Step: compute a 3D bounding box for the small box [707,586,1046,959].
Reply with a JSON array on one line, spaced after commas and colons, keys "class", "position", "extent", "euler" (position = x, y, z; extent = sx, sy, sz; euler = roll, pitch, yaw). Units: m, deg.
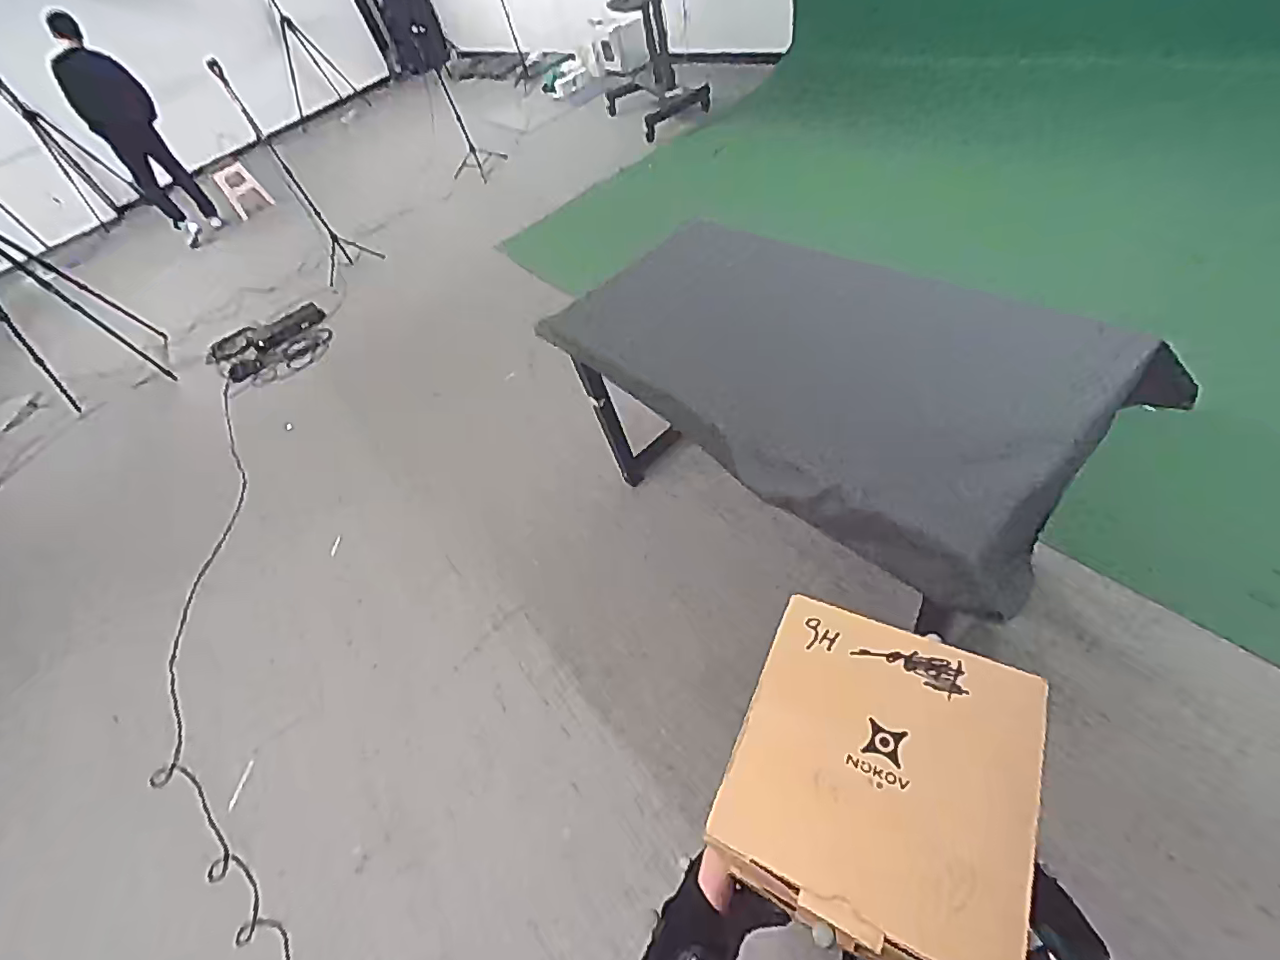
[{"class": "small box", "position": [0.166, 0.214, 0.398], "extent": [0.168, 0.176, 0.179], "euler": [16, 57, 25]}]
